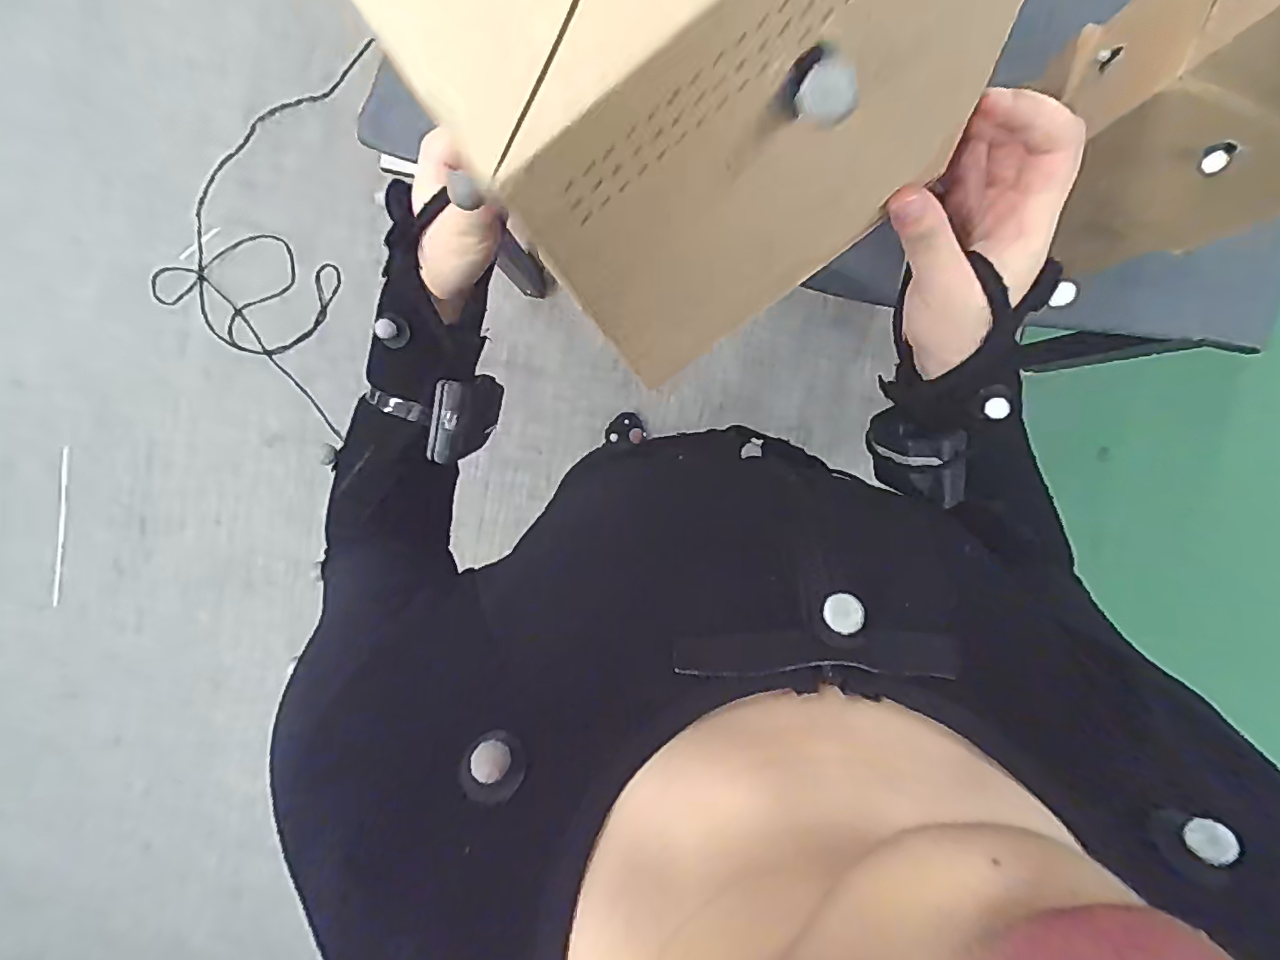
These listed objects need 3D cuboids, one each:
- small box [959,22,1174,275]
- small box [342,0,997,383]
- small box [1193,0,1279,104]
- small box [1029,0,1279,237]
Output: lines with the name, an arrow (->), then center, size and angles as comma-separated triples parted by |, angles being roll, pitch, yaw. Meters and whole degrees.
small box -> 0.507, -0.363, 0.625 | 0.168, 0.176, 0.179 | 13, 95, 1
small box -> 0.005, -0.171, 0.207 | 0.179, 0.176, 0.168 | -35, 77, 9
small box -> 0.497, -0.327, 0.300 | 0.179, 0.176, 0.168 | 26, 94, 1
small box -> 0.499, -0.337, 0.464 | 0.179, 0.176, 0.168 | 24, 94, 1
